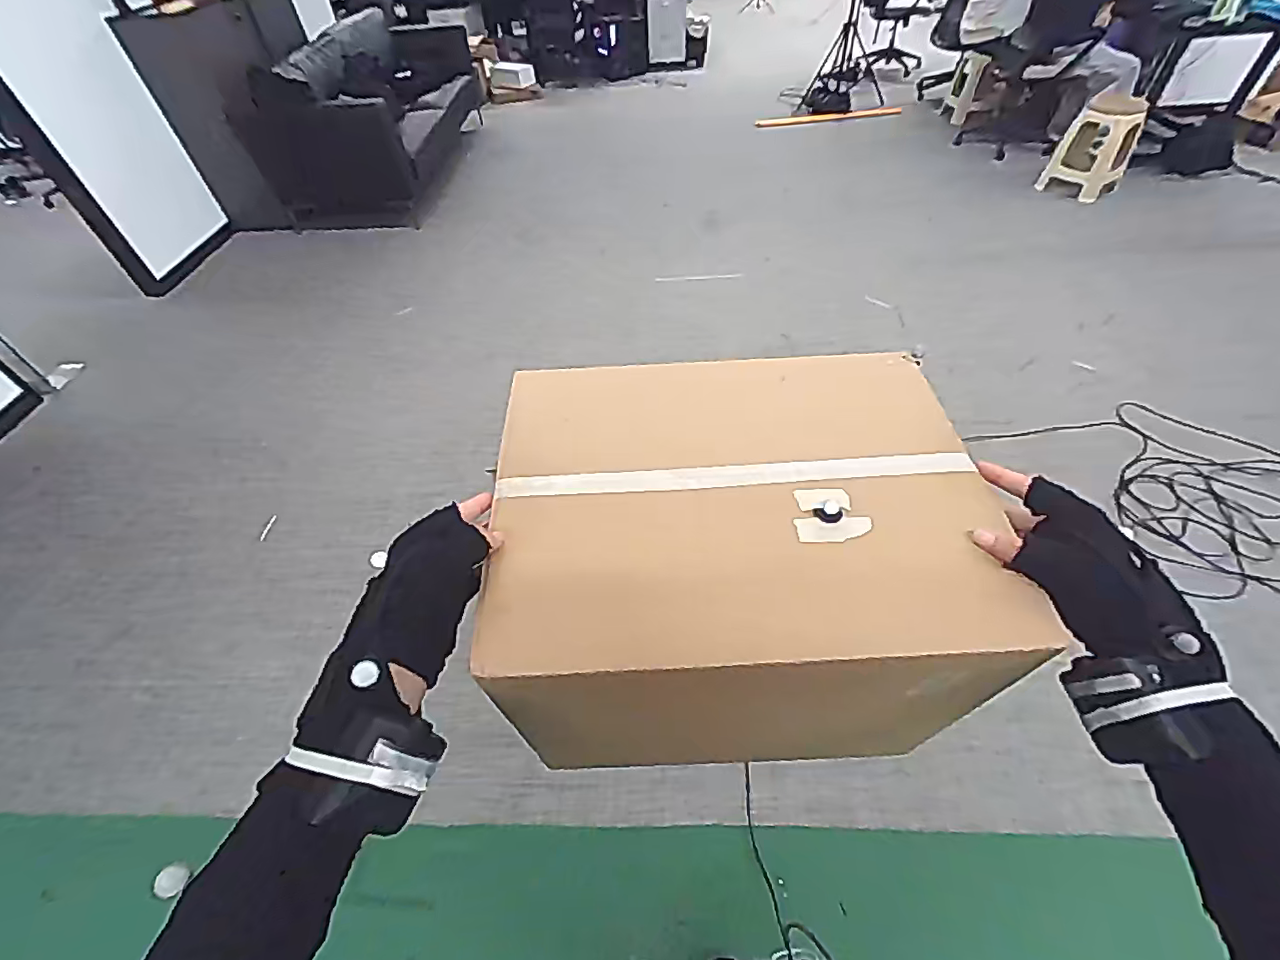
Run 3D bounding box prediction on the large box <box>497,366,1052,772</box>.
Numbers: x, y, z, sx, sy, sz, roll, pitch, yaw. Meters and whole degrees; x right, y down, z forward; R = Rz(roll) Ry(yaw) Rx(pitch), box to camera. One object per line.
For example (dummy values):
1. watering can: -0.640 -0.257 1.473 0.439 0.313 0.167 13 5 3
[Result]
1. large box: 0.090 0.103 0.586 0.408 0.320 0.320 -3 51 -1
